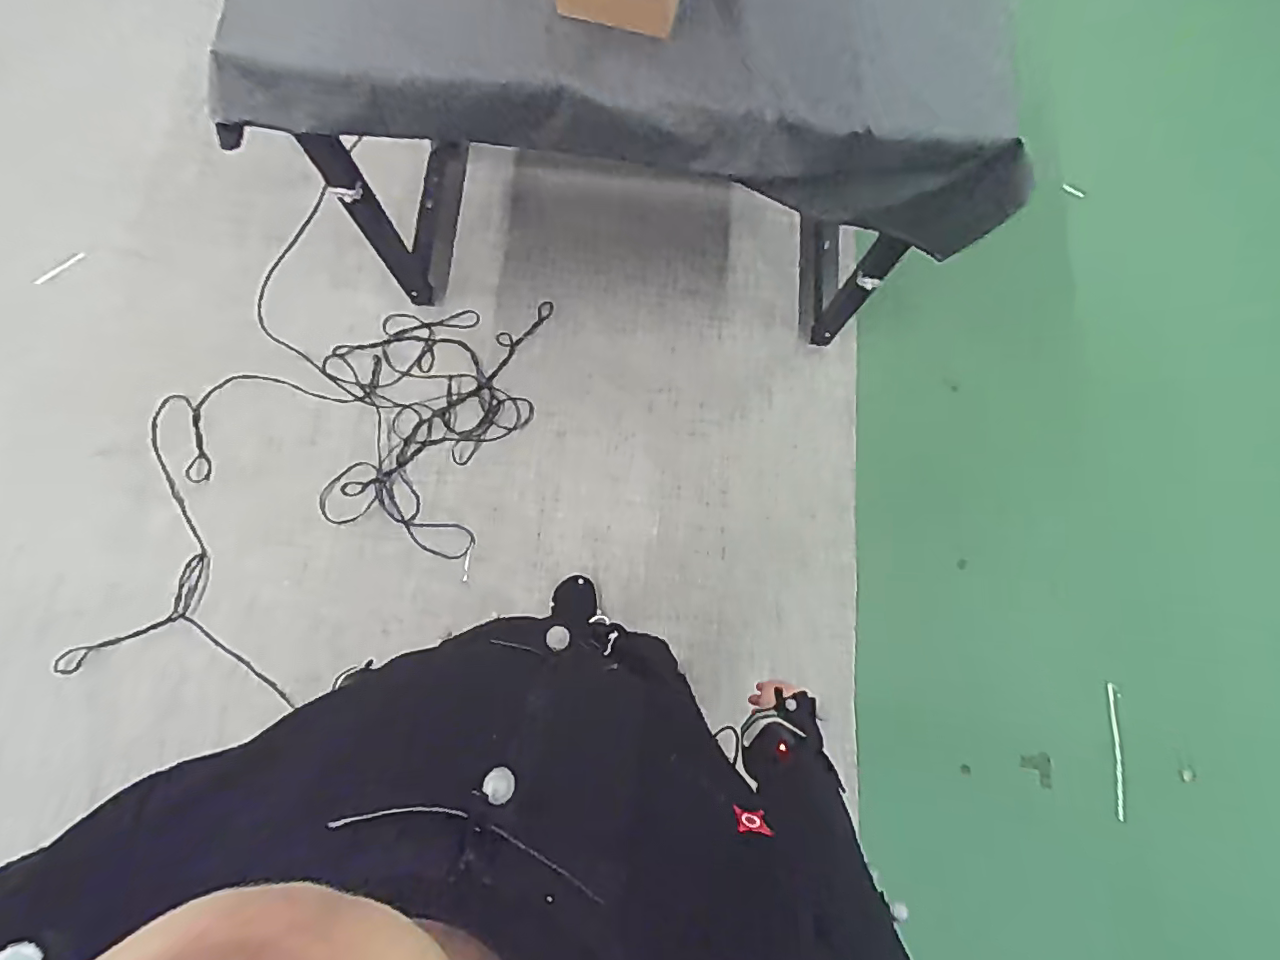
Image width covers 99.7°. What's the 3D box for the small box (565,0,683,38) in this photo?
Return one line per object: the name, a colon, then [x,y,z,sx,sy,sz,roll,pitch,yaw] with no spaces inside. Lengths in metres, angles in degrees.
small box: [-0.010,-0.781,0.766,0.179,0.176,0.168,13,76,1]
